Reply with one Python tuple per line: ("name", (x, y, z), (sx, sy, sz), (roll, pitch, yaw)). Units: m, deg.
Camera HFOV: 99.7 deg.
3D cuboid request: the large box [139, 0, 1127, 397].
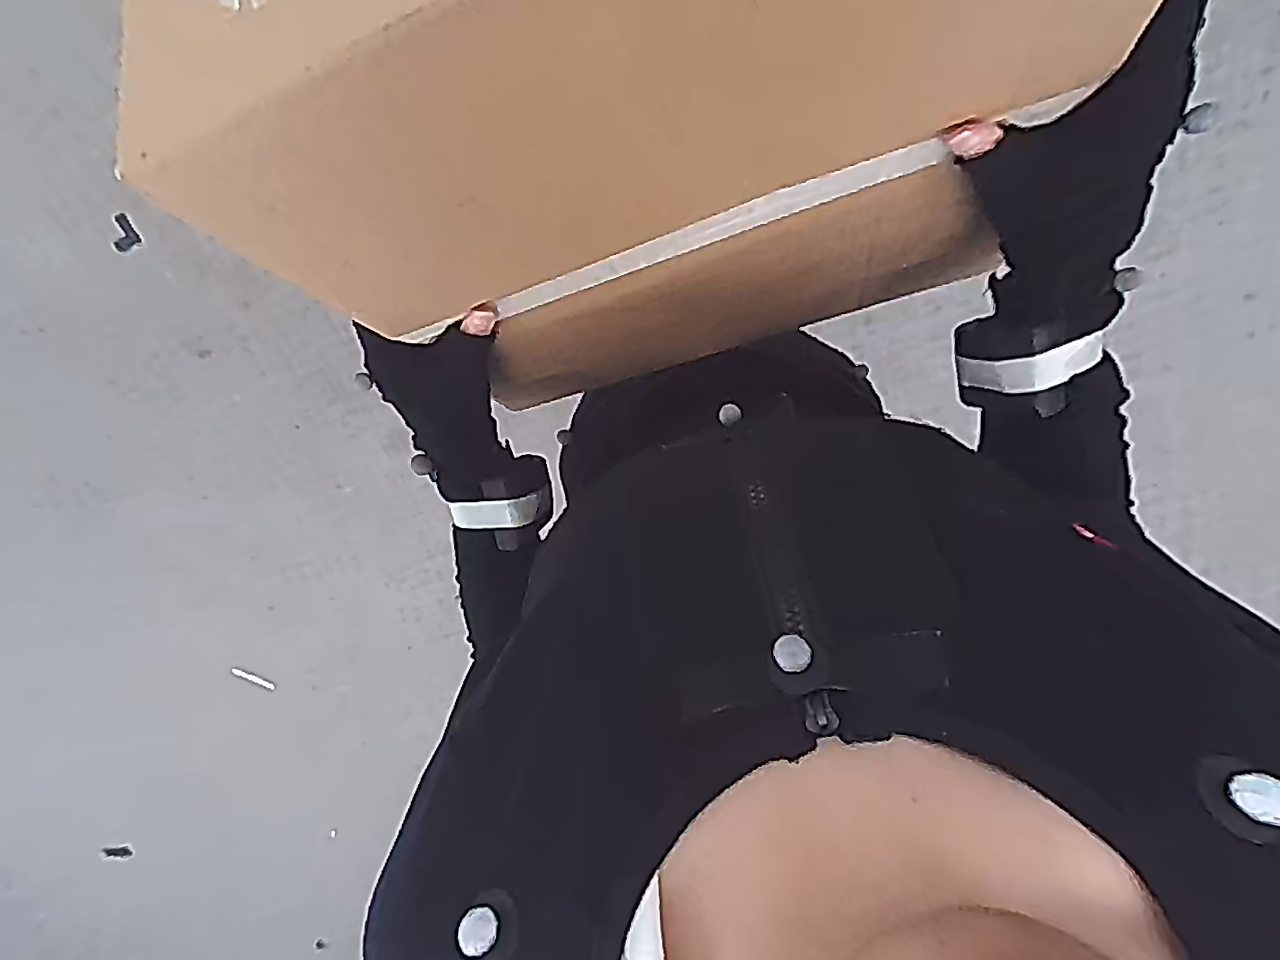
("large box", (-0.002, -0.294, 0.344), (0.408, 0.320, 0.320), (-14, 77, 13))
